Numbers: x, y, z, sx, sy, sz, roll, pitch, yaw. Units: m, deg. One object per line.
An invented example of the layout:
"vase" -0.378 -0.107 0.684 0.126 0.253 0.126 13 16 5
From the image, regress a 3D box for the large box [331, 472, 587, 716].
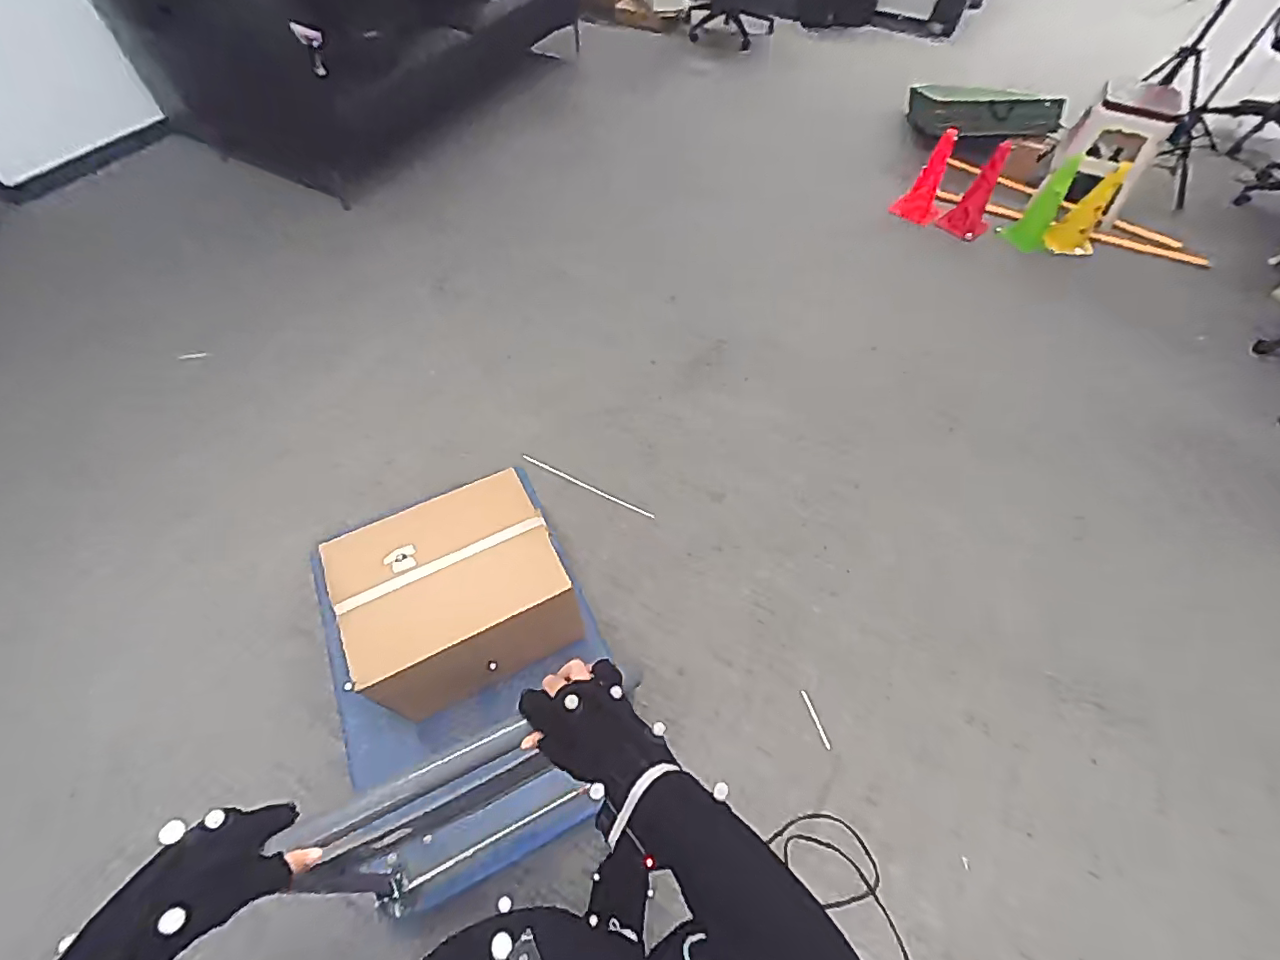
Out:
"large box" -0.368 0.251 1.177 0.408 0.320 0.320 -24 60 -15
